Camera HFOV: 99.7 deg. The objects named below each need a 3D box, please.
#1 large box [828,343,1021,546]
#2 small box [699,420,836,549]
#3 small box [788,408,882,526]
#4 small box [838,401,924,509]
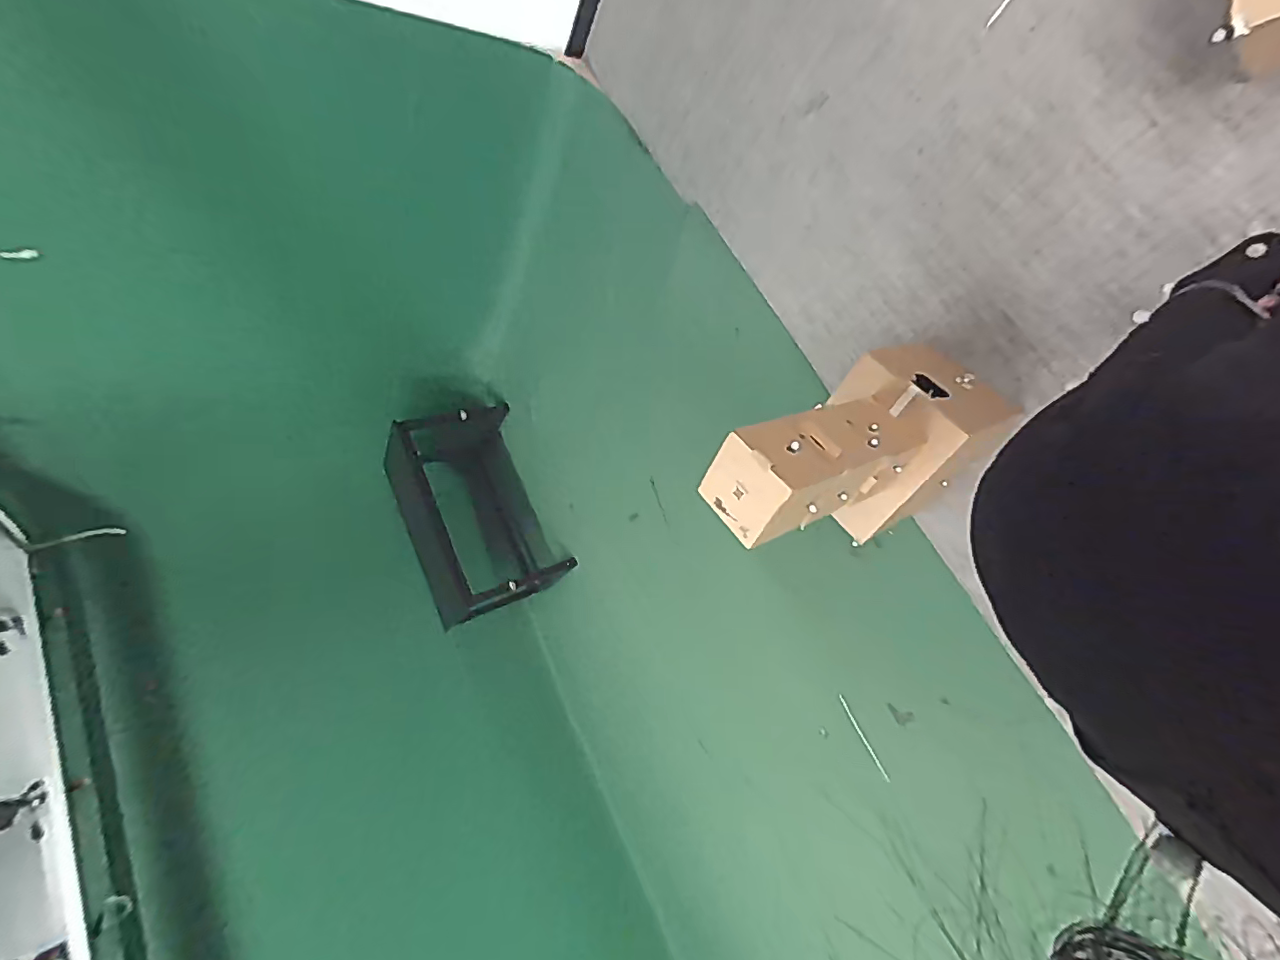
[{"bbox_3d":[0.683,-0.100,1.431,0.320,0.320,0.408,53,141,28],"label":"large box"},{"bbox_3d":[0.254,0.002,1.064,0.168,0.176,0.179,52,137,27],"label":"small box"},{"bbox_3d":[0.384,-0.034,1.158,0.168,0.176,0.179,52,139,28],"label":"small box"},{"bbox_3d":[0.512,-0.066,1.255,0.179,0.176,0.168,53,139,27],"label":"small box"}]
